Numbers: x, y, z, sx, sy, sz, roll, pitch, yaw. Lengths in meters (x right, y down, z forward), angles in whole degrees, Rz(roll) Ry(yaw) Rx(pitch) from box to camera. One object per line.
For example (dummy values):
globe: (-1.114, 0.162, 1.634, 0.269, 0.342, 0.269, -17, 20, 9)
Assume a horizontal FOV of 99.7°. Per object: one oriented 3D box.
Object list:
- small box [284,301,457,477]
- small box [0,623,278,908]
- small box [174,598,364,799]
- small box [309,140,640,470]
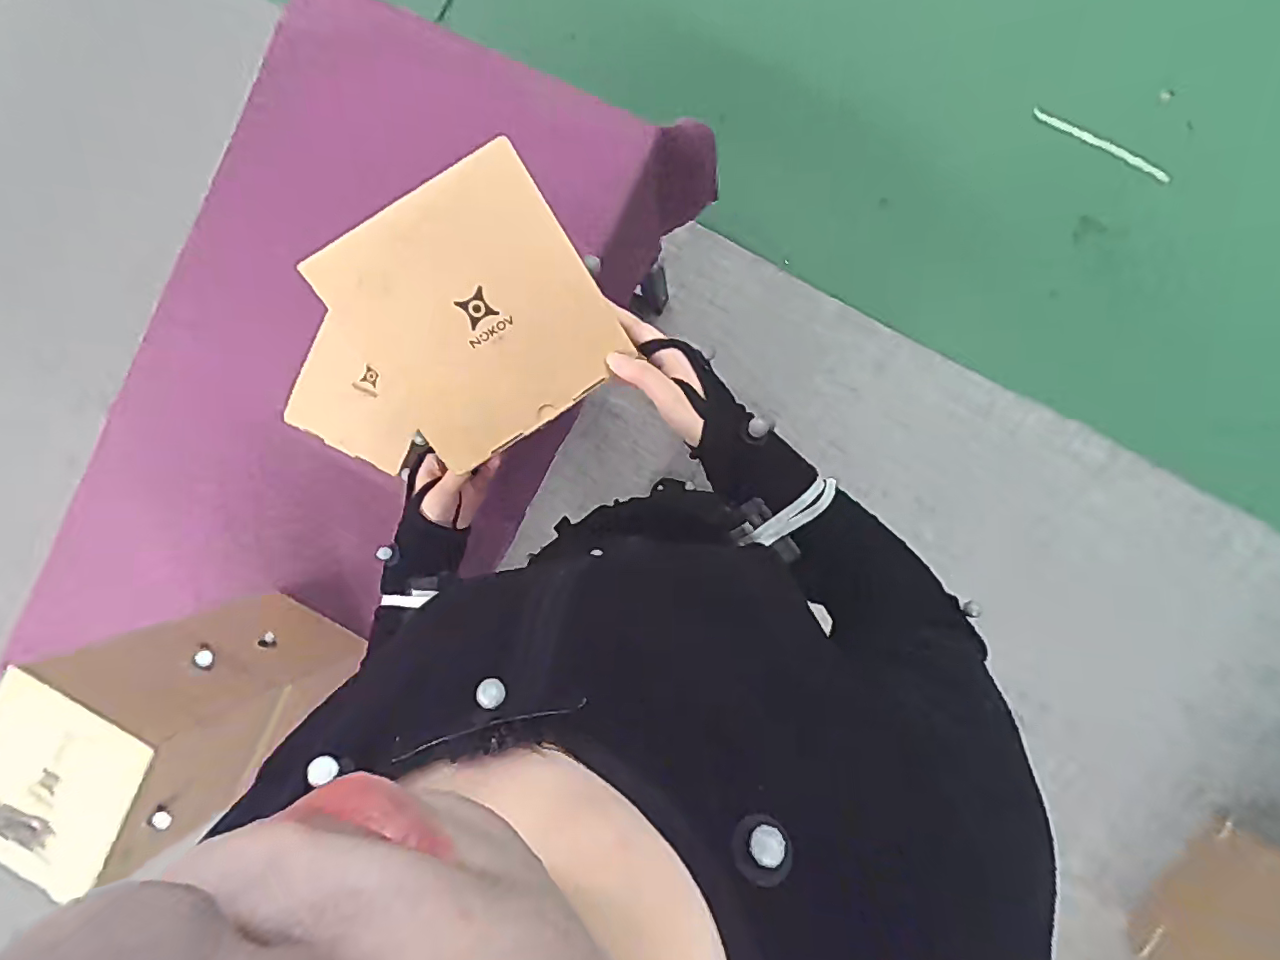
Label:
small box: (-0.315, -0.116, 0.721, 0.168, 0.176, 0.179, 26, 93, 5)
small box: (-0.539, 0.282, 0.578, 0.168, 0.176, 0.179, 27, 92, 5)
small box: (-0.523, 0.280, 0.742, 0.179, 0.176, 0.168, 27, 92, 5)
small box: (-0.124, -0.133, 0.458, 0.168, 0.176, 0.179, -32, 106, -2)
